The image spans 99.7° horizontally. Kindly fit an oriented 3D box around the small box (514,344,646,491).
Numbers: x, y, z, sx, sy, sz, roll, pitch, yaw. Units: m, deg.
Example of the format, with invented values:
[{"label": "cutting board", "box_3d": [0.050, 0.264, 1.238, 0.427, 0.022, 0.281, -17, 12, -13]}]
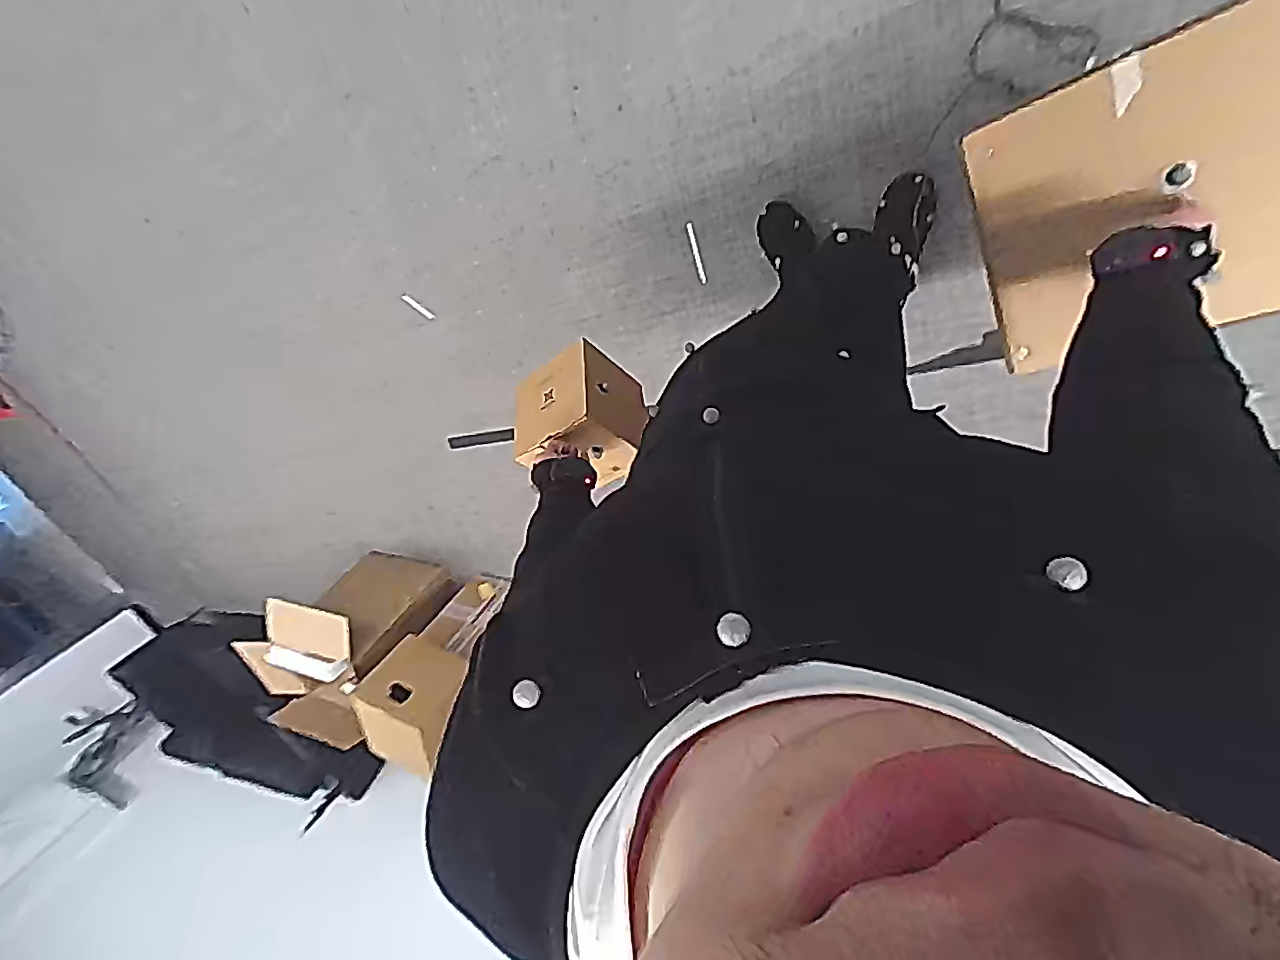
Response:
[{"label": "small box", "box_3d": [-0.103, -0.098, 0.960, 0.168, 0.179, 0.176, -26, 141, 27]}]
